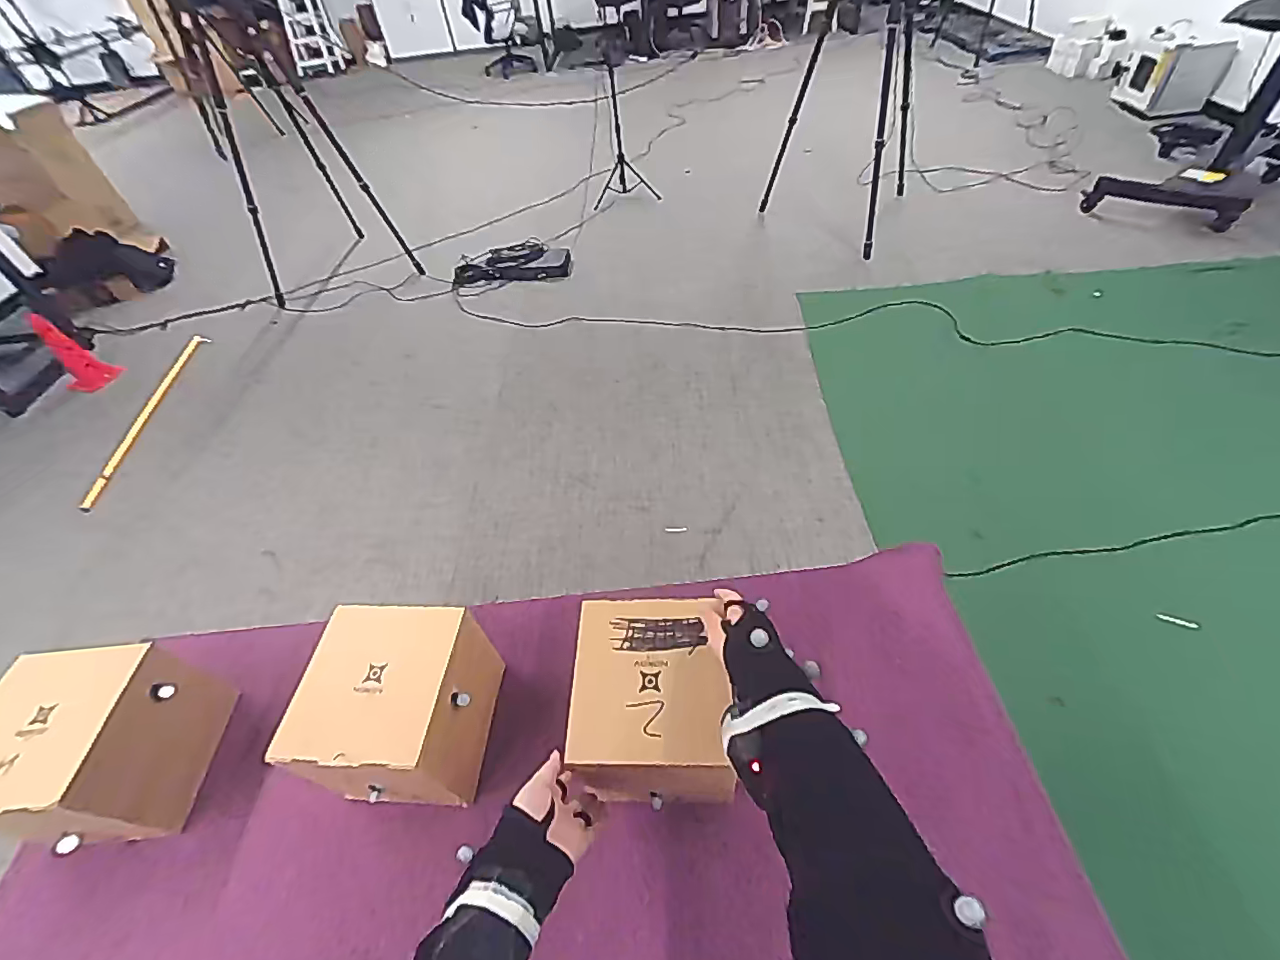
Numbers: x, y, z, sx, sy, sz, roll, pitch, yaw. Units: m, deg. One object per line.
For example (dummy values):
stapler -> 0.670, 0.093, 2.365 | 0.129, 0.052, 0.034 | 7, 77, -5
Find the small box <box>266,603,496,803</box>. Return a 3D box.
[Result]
small box -> -0.288, 0.269, 0.653 | 0.168, 0.176, 0.179 | 0, 50, 7

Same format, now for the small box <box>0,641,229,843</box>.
small box -> -0.653, 0.317, 0.653 | 0.168, 0.176, 0.179 | -6, 48, 2
